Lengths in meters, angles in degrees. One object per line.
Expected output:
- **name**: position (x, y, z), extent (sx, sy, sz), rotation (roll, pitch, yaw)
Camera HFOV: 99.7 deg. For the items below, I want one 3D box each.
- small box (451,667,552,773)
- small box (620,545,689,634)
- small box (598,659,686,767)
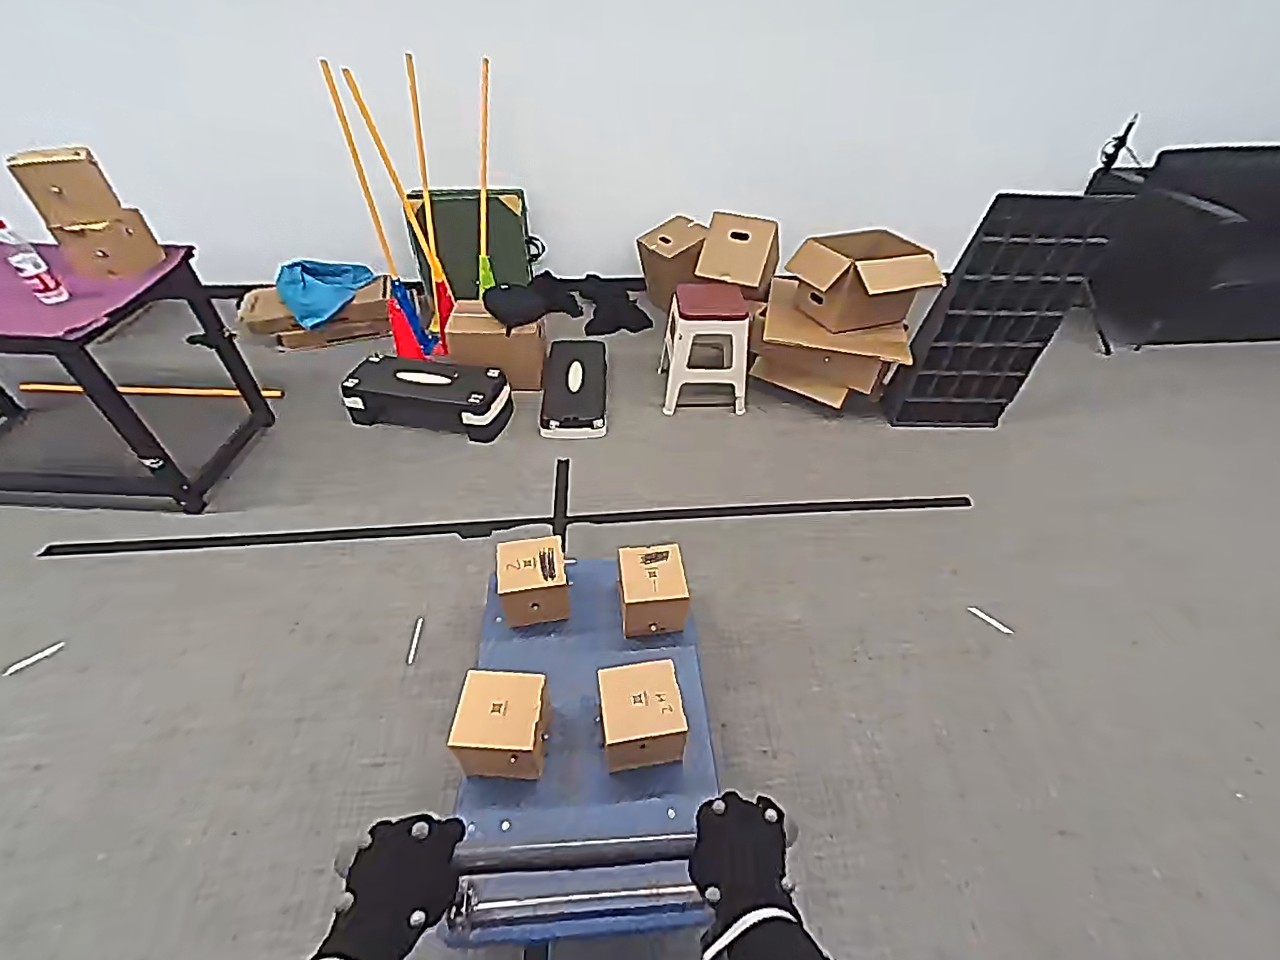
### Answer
- **small box**: position (-0.302, 0.543, 1.218), extent (0.179, 0.176, 0.168), rotation (4, 44, 0)
- **small box**: position (0.034, 0.300, 1.481), extent (0.168, 0.176, 0.179), rotation (-3, 45, -6)
- **small box**: position (0.001, 0.535, 1.237), extent (0.179, 0.176, 0.168), rotation (-5, 45, -7)
